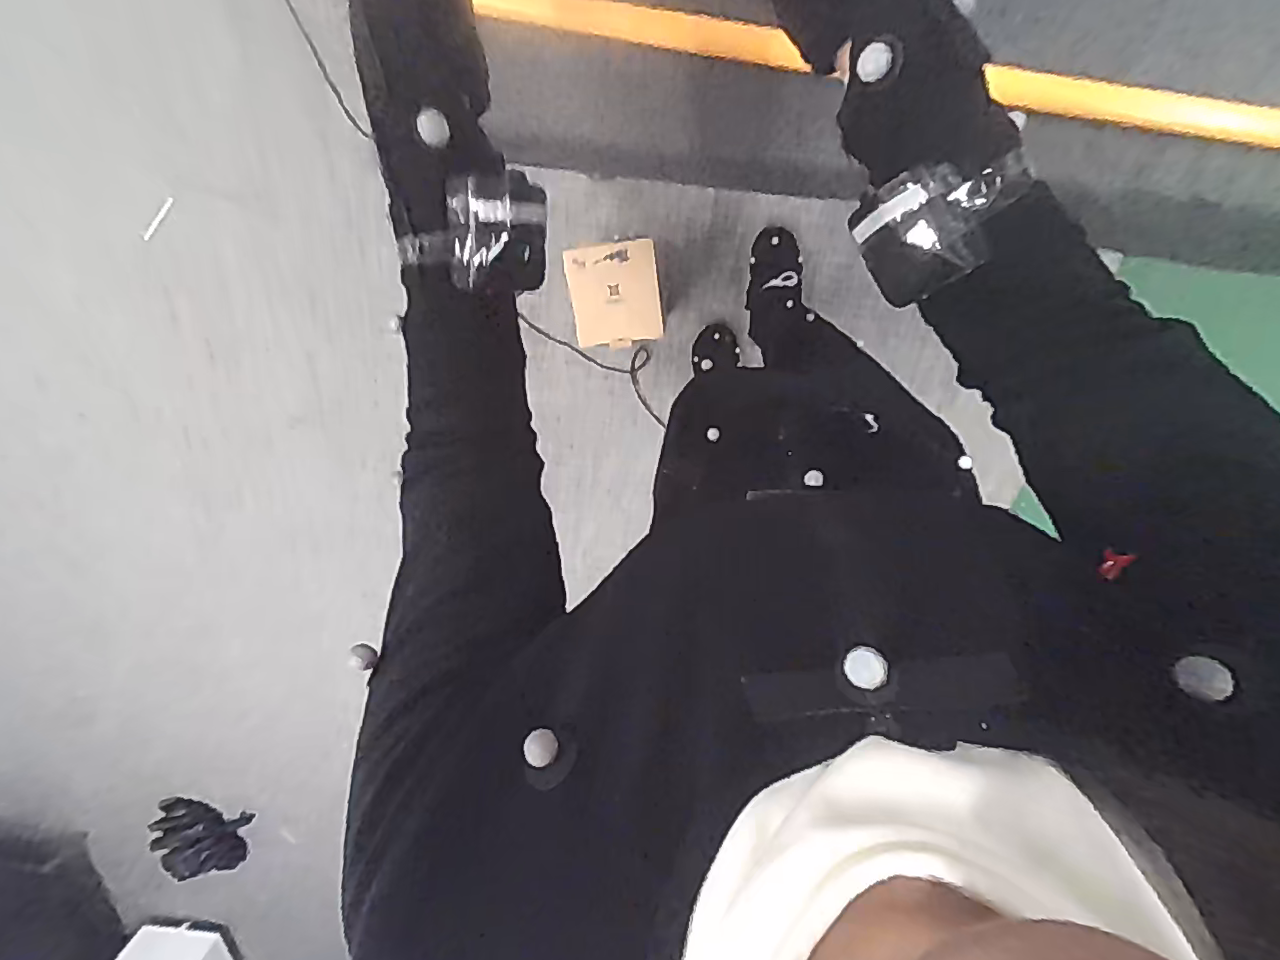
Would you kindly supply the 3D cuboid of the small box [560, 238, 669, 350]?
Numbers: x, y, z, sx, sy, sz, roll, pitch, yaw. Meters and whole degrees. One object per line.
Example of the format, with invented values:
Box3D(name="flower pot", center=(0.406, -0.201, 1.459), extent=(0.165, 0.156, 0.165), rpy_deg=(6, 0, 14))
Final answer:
Box3D(name="small box", center=(-0.040, -0.369, 1.063), extent=(0.168, 0.176, 0.179), rpy_deg=(-6, 113, 11))
